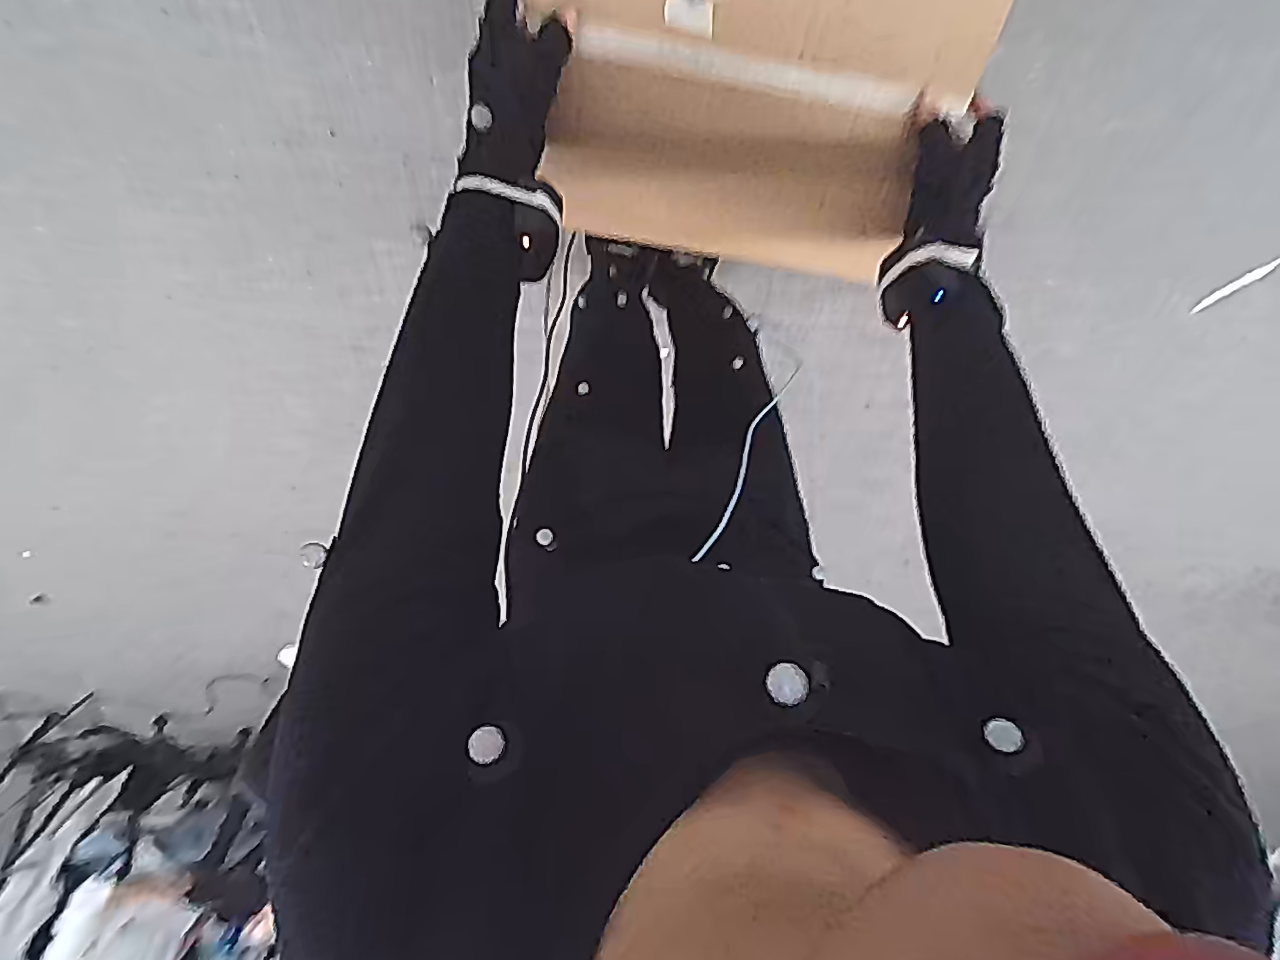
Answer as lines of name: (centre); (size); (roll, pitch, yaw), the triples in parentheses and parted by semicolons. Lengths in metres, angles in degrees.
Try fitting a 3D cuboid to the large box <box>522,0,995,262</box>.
large box: (0.103, -0.478, 0.607); (0.408, 0.320, 0.320); (9, 127, -5)
